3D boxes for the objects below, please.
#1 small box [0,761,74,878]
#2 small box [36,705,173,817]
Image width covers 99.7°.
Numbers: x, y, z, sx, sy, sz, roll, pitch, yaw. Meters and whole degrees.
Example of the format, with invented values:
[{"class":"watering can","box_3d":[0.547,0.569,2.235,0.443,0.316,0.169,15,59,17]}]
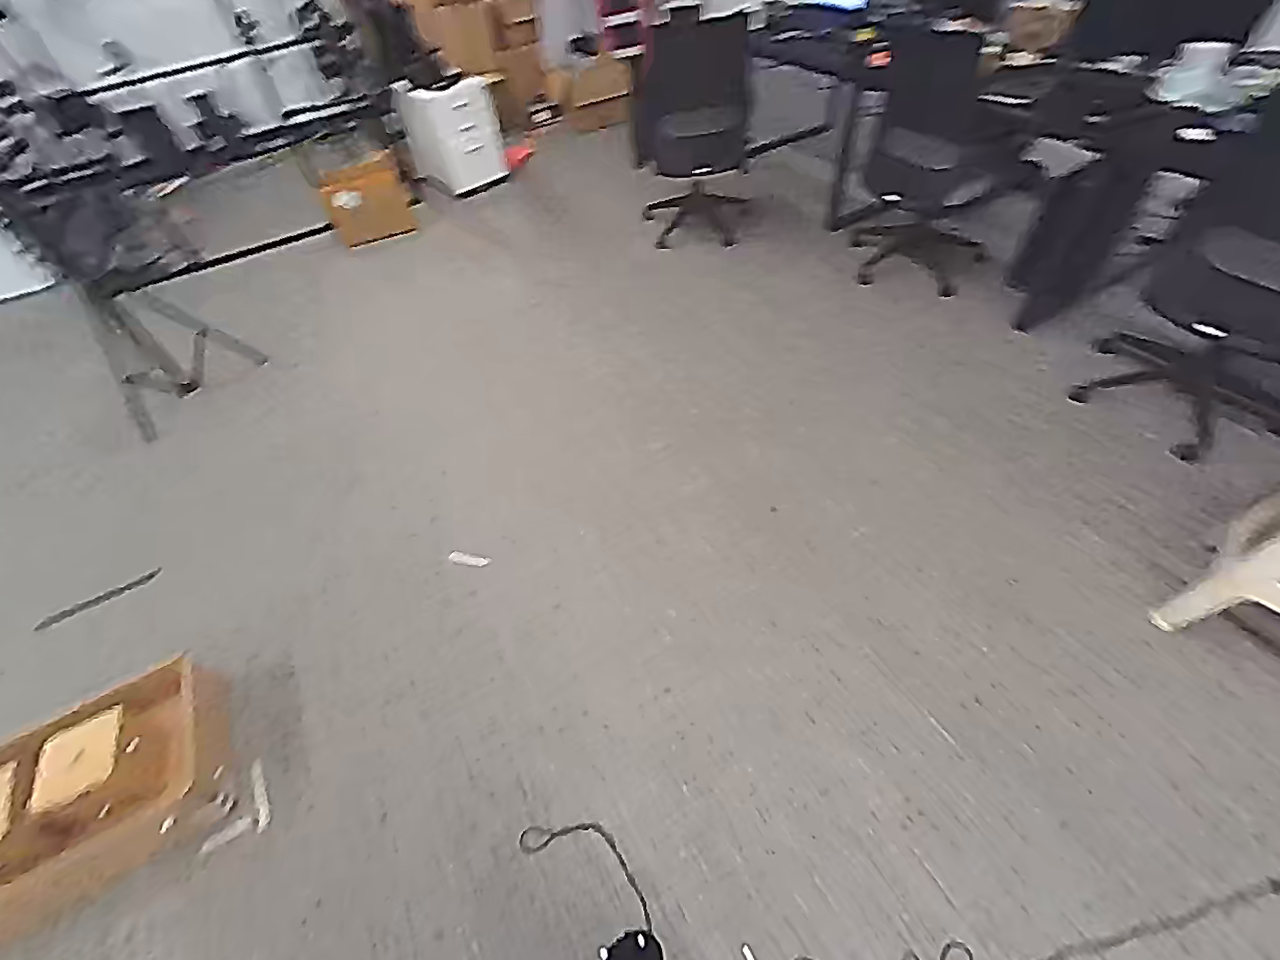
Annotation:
[{"class":"small box","box_3d":[-1.486,0.803,1.267,0.168,0.176,0.179,-27,52,-19]},{"class":"small box","box_3d":[-1.310,0.699,1.341,0.168,0.176,0.179,-23,52,-12]}]
